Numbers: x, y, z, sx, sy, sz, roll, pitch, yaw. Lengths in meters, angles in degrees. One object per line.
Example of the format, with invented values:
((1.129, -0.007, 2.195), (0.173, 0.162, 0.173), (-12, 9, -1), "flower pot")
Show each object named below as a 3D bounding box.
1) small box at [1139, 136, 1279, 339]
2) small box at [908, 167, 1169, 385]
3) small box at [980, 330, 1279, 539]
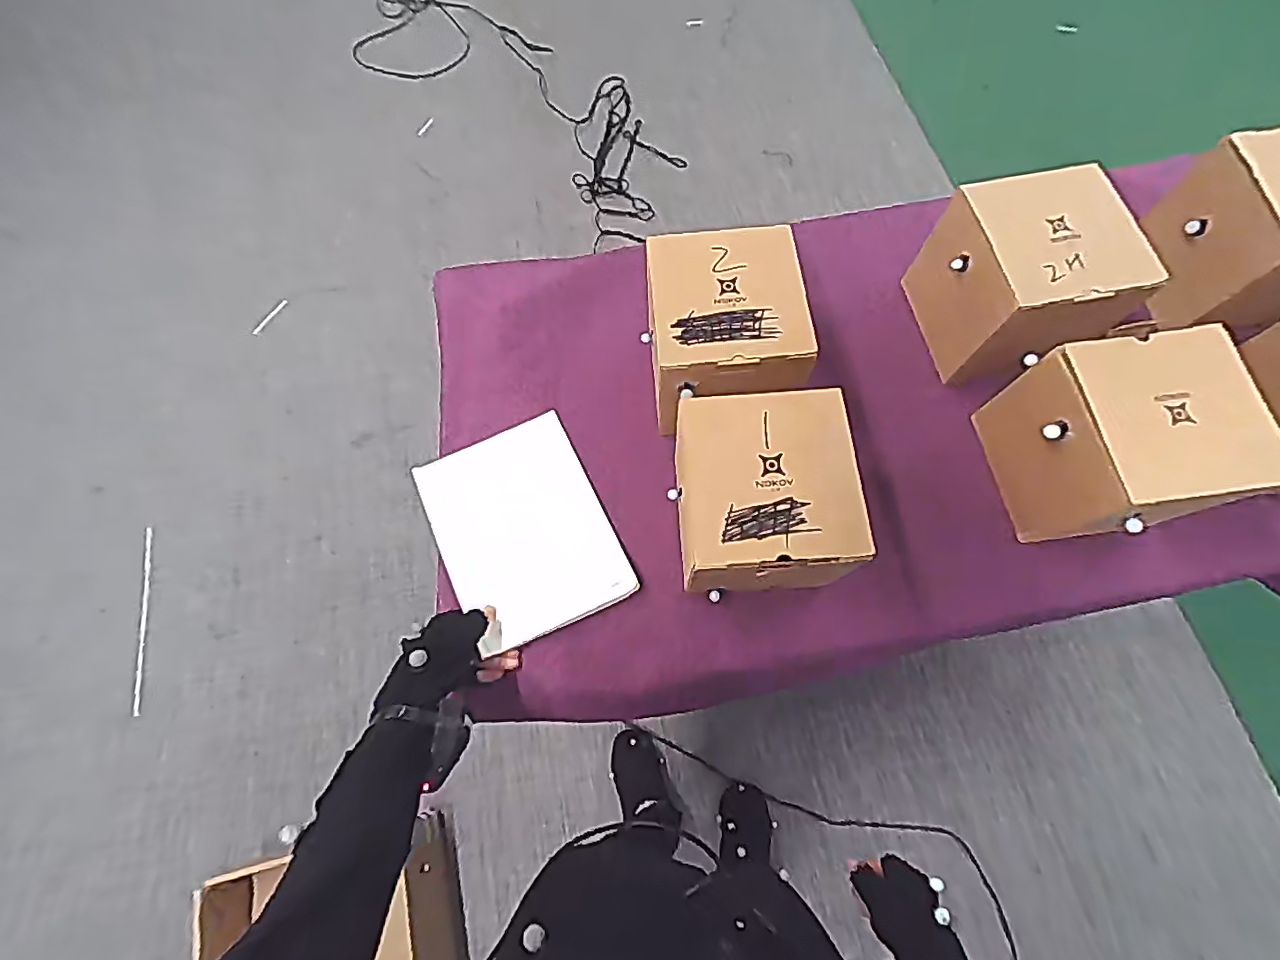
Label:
((0.773, -0.296, 0.676), (0.168, 0.176, 0.179), (-5, 71, 1), "small box")
((0.464, -0.242, 0.667), (0.168, 0.176, 0.179), (-9, 71, -1), "small box")
((0.520, -0.037, 0.597), (0.168, 0.176, 0.179), (-7, 72, 0), "small box")
